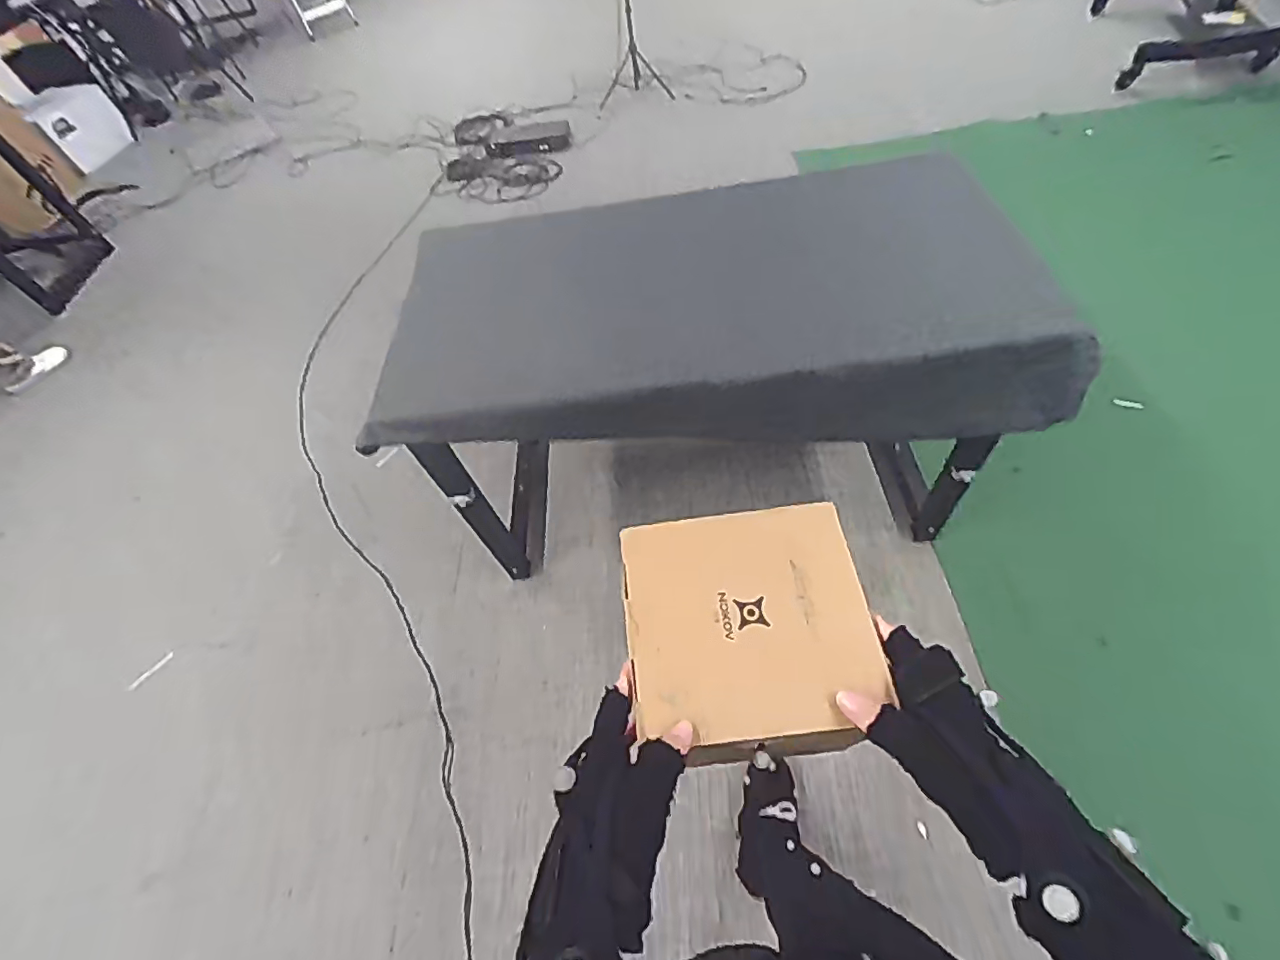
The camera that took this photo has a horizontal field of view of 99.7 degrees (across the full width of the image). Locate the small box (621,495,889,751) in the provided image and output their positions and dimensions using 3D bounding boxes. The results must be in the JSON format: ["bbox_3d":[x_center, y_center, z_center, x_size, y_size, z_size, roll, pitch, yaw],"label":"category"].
[{"bbox_3d":[0.084,0.134,0.480,0.179,0.176,0.168,-8,58,-1],"label":"small box"}]
